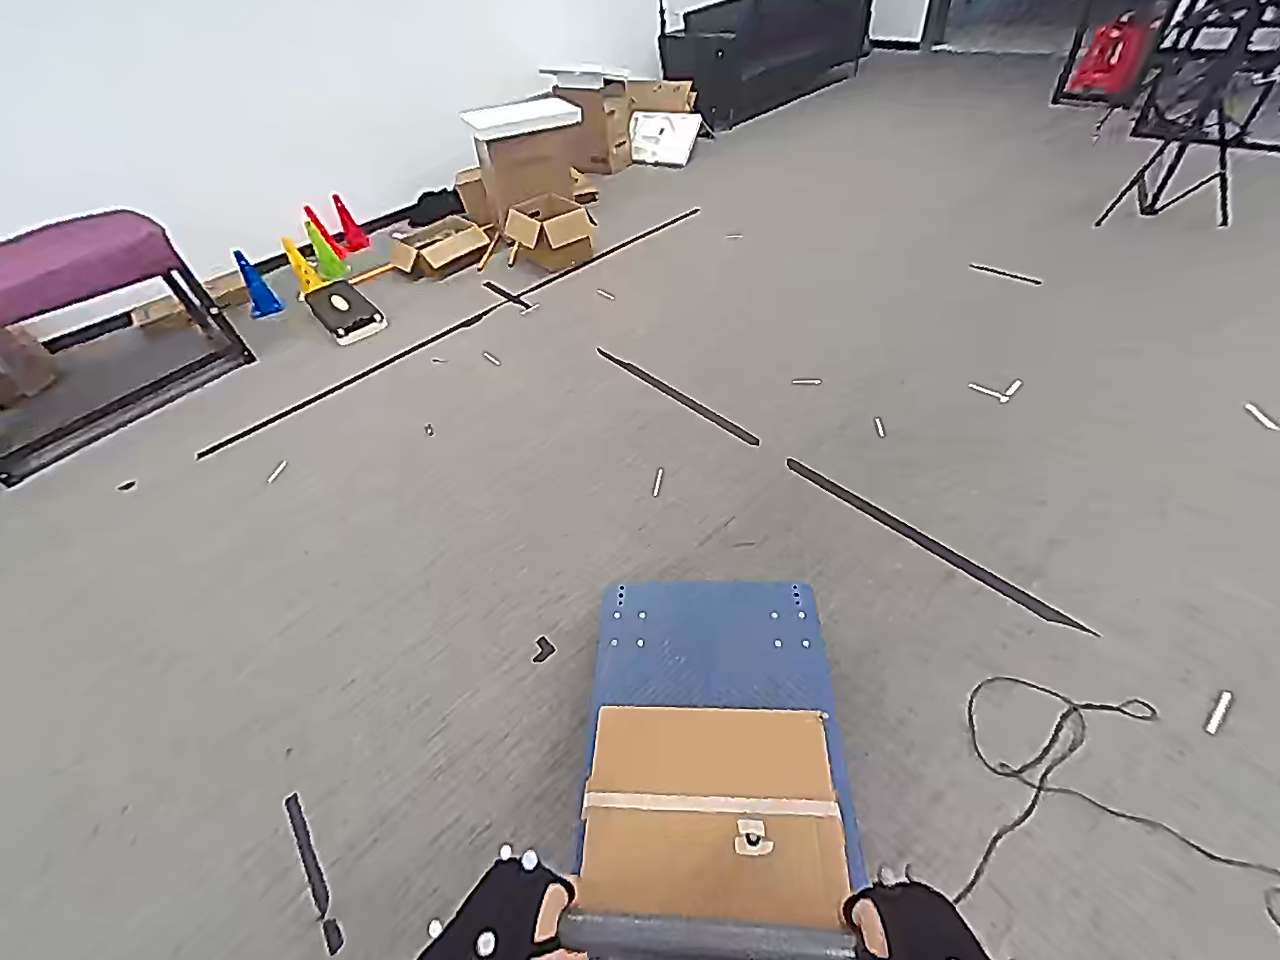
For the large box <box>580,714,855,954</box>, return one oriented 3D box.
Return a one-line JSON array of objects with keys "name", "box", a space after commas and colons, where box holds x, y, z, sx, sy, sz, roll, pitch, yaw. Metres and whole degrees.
[{"name": "large box", "box": [0.127, 0.643, 0.986, 0.408, 0.320, 0.320, -1, 47, 6]}]
